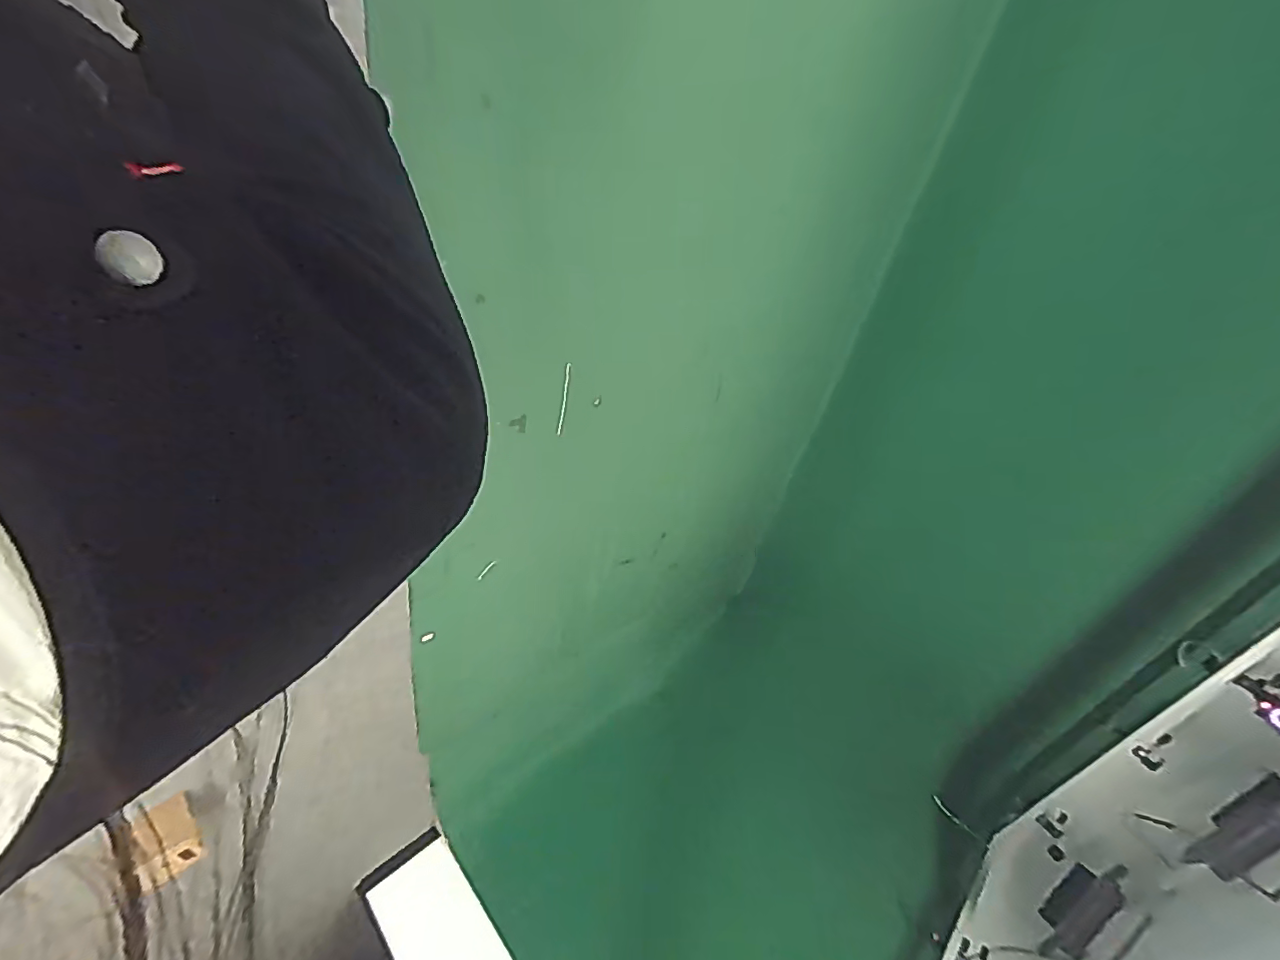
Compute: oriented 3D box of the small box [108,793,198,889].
[{"bbox_3d":[-1.608,1.184,1.786,0.179,0.176,0.168,-20,137,-41],"label":"small box"}]
